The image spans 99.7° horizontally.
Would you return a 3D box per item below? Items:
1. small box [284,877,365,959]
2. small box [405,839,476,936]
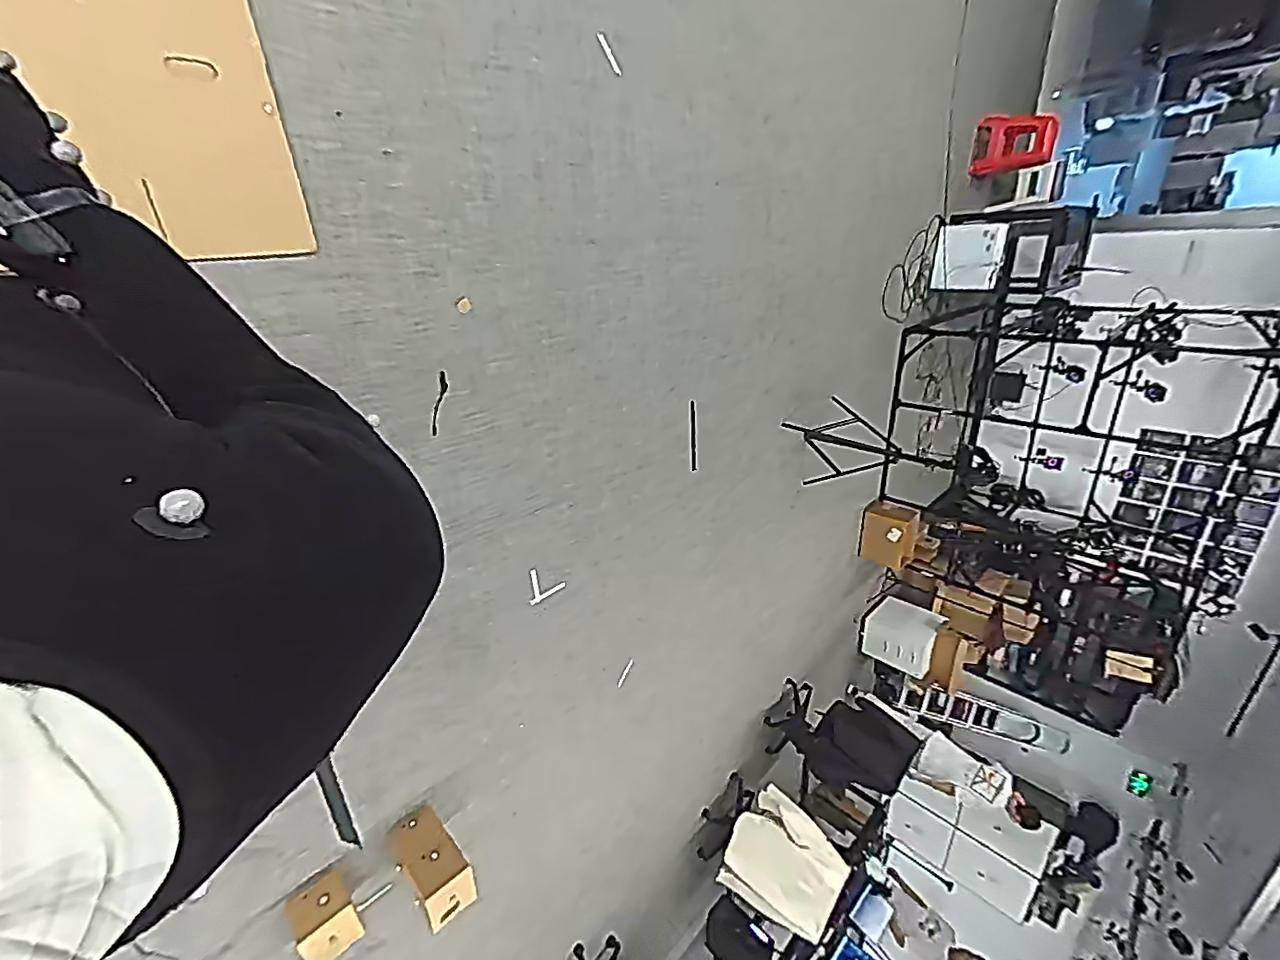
[{"bbox_3d":[-1.050,1.472,1.794,0.168,0.176,0.179,-26,122,-38],"label":"small box"},{"bbox_3d":[-0.698,1.417,1.895,0.168,0.176,0.179,-22,118,-41],"label":"small box"}]
